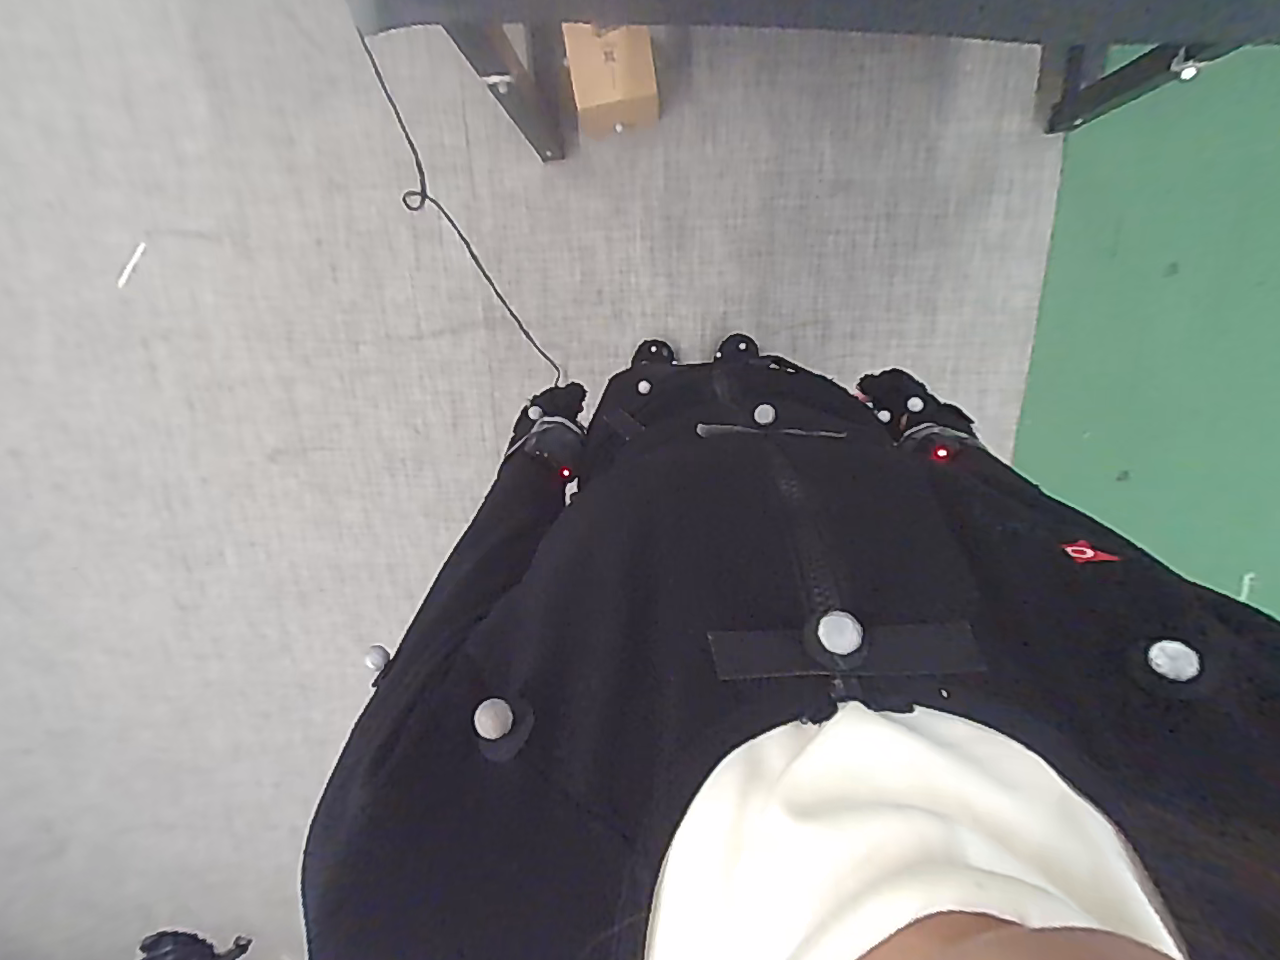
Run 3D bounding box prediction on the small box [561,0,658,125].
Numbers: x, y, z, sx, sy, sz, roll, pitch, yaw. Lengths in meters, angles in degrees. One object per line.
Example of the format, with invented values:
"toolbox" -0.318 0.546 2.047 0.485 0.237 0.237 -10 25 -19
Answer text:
"small box" -0.057 -0.873 1.118 0.168 0.176 0.179 -8 107 5
